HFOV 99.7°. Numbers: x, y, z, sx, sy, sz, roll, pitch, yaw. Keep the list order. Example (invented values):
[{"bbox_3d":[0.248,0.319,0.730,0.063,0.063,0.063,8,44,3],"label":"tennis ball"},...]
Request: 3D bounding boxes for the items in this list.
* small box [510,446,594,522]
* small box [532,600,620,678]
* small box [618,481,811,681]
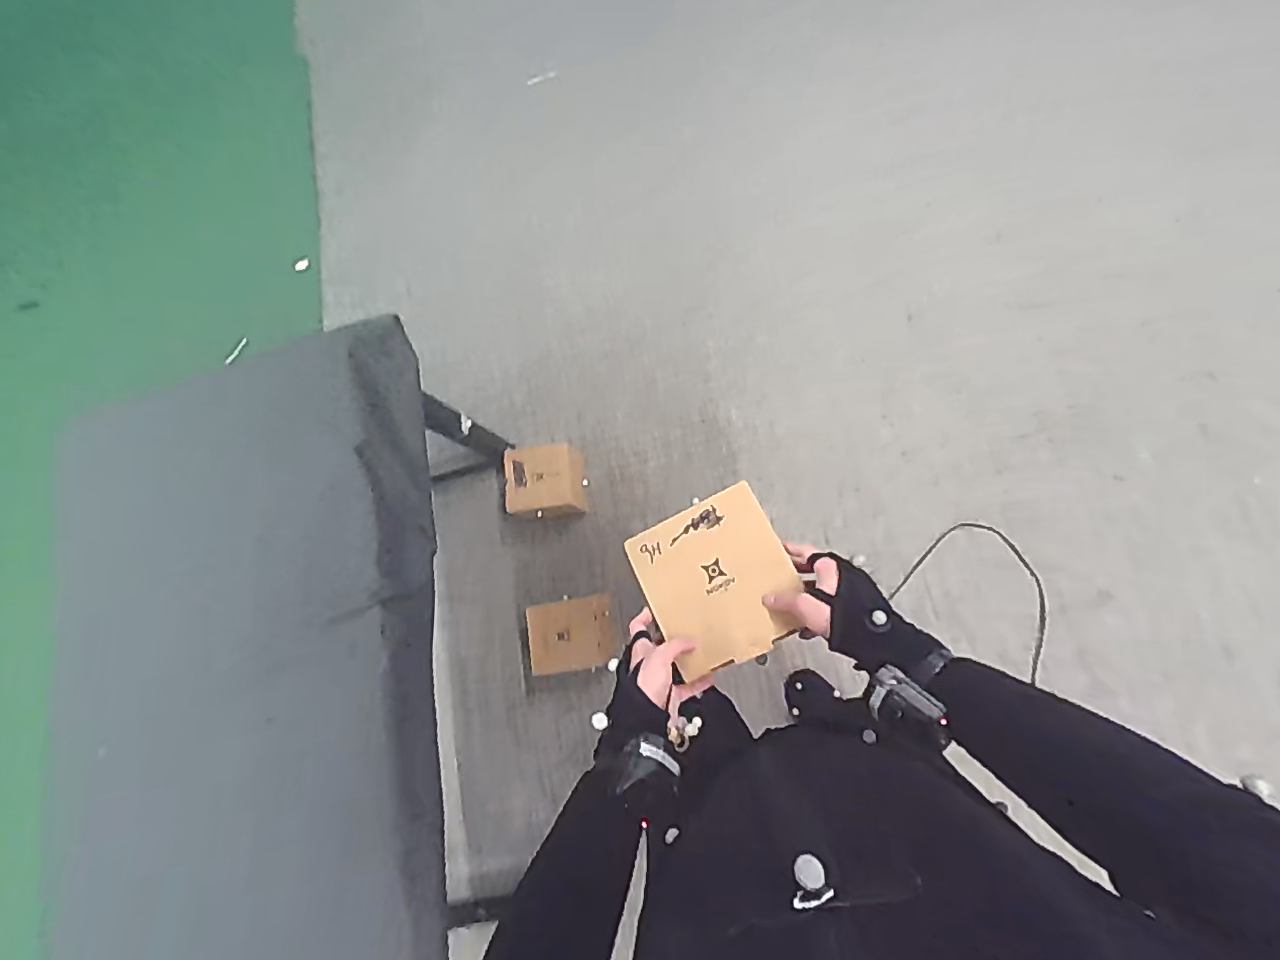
[{"bbox_3d":[-0.237,0.017,1.475,0.179,0.176,0.168,-8,77,9],"label":"small box"},{"bbox_3d":[-0.156,0.401,1.383,0.179,0.176,0.168,-12,75,11],"label":"small box"},{"bbox_3d":[0.099,0.129,0.679,0.168,0.176,0.179,-28,69,7],"label":"small box"}]
